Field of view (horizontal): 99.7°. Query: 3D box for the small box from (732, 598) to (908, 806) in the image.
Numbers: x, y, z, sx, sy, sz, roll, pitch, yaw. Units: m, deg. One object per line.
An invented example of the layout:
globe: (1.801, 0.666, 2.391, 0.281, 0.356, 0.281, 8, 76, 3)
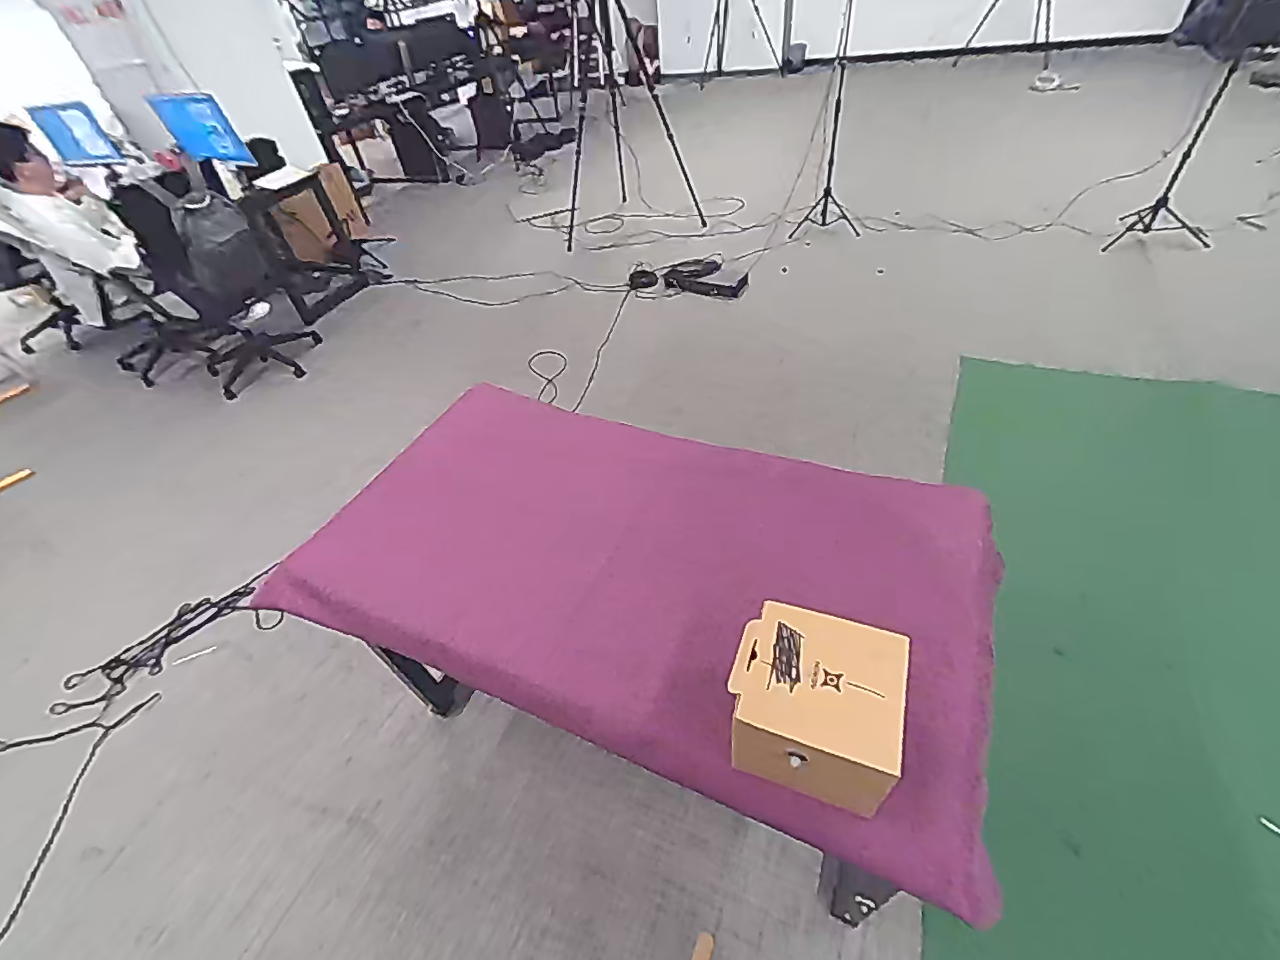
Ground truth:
small box: (0.223, 0.283, 0.688, 0.179, 0.176, 0.168, 12, 49, 20)
